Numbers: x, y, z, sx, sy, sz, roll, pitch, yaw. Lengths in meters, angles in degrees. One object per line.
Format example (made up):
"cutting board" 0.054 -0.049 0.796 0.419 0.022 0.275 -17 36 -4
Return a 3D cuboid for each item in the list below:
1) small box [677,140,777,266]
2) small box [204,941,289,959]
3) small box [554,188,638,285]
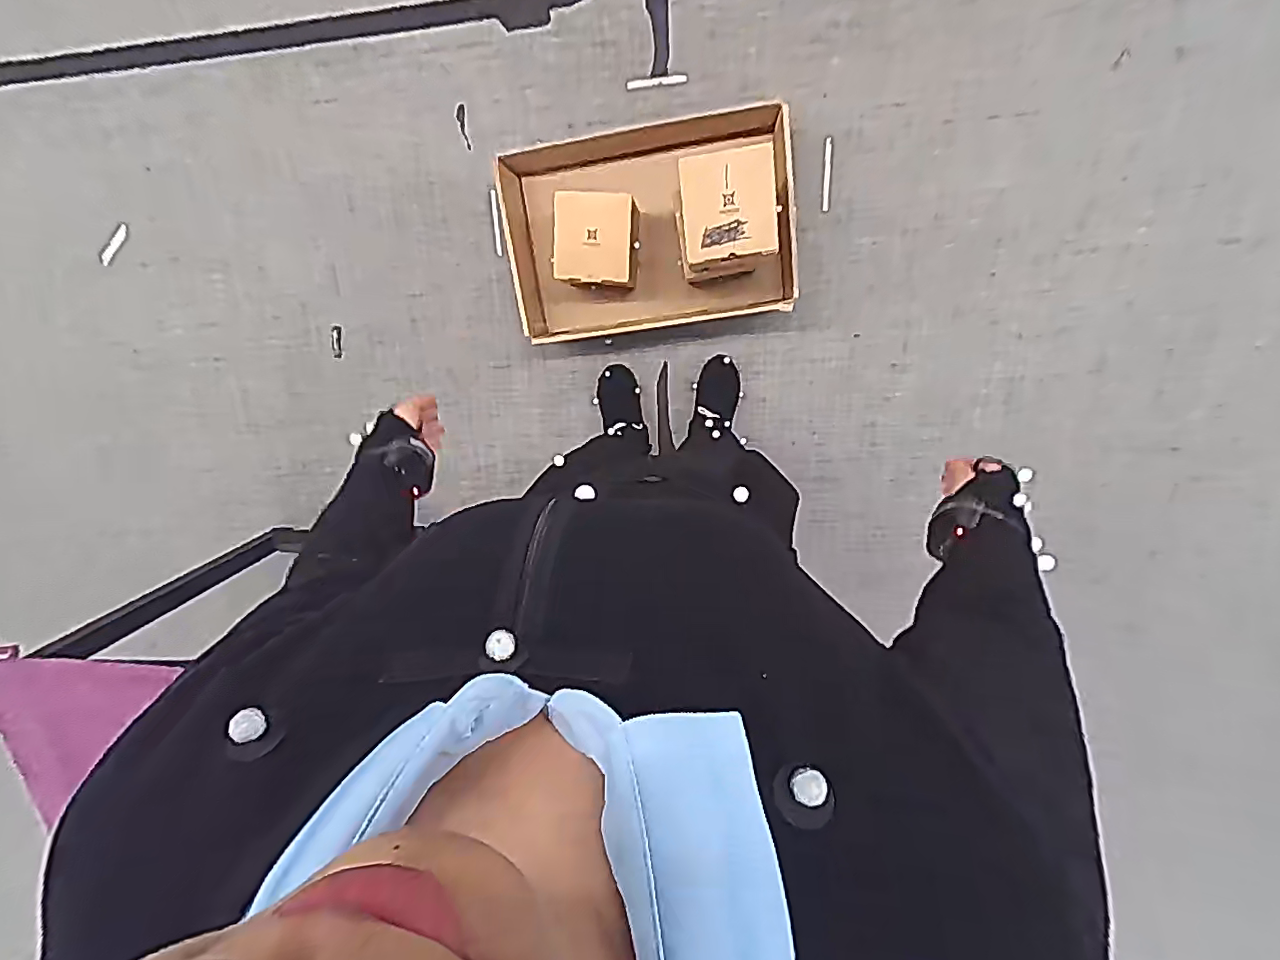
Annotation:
"small box" 0.164 -0.508 1.021 0.168 0.176 0.179 -5 105 8
"small box" -0.830 1.082 1.092 0.168 0.176 0.179 0 107 7
"small box" -0.095 -0.539 1.216 0.168 0.176 0.179 4 107 4
